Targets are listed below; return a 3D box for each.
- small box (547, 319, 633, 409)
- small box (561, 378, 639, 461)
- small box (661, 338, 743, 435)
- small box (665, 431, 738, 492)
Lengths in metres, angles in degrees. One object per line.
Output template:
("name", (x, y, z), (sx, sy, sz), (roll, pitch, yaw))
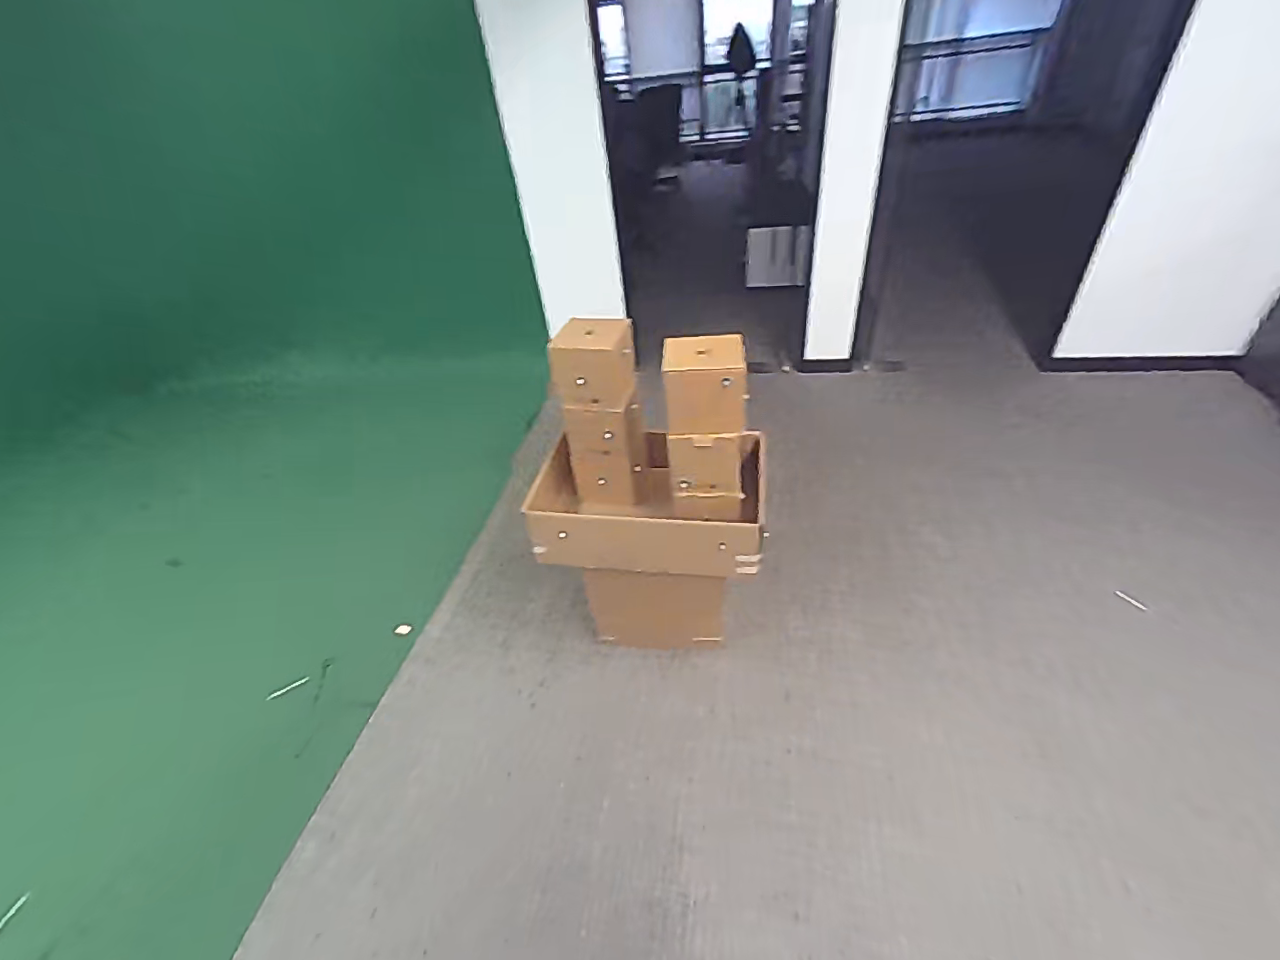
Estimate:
("small box", (-0.120, -0.299, 1.396), (0.168, 0.176, 0.179), (7, 41, 13))
("small box", (-0.102, -0.169, 1.495), (0.168, 0.176, 0.179), (5, 40, 12))
("small box", (0.145, -0.215, 1.251), (0.179, 0.176, 0.168), (-1, 39, 6))
("small box", (0.159, -0.084, 1.346), (0.168, 0.176, 0.179), (1, 40, 9))
